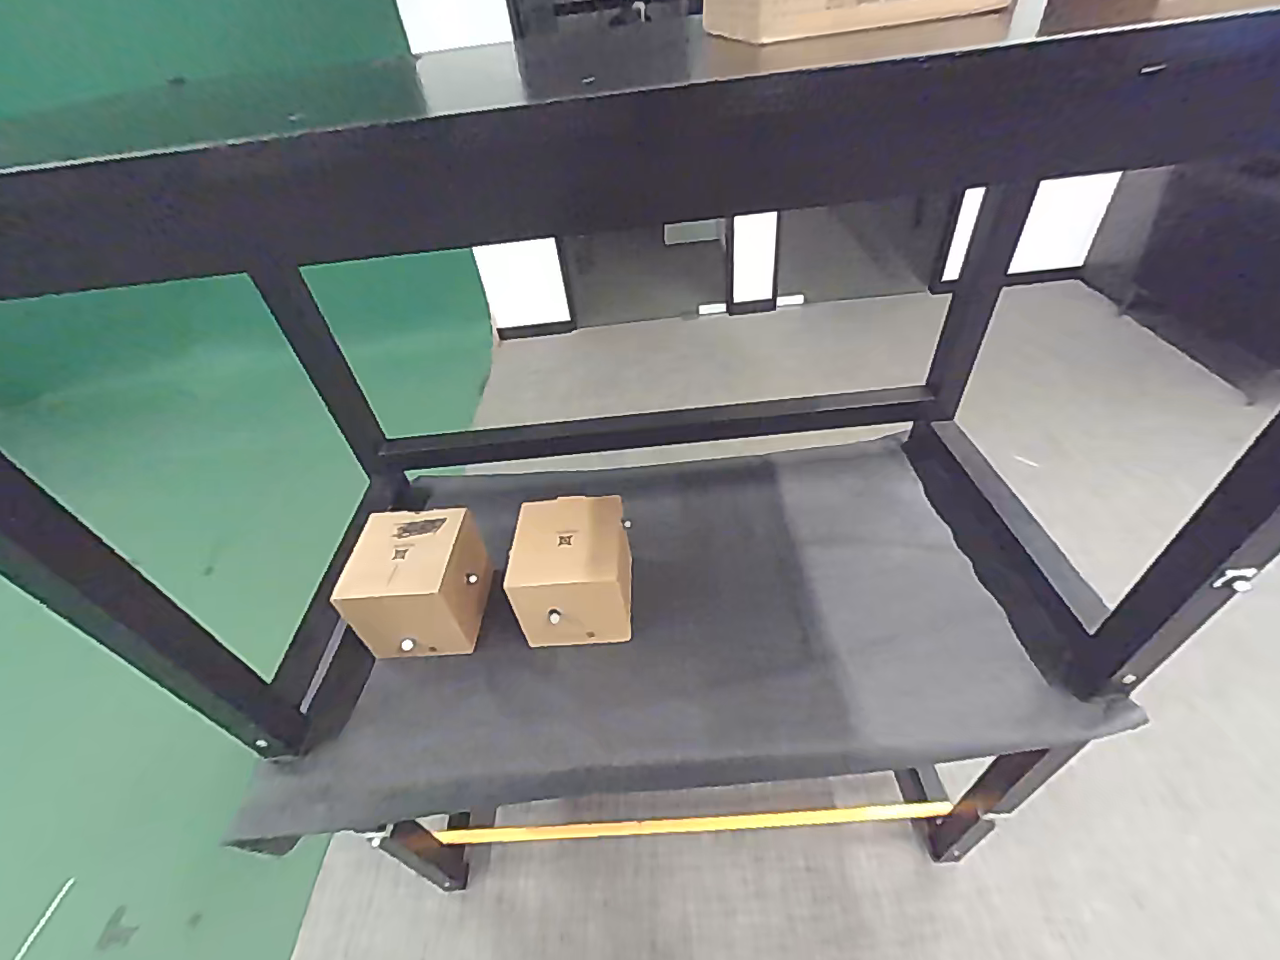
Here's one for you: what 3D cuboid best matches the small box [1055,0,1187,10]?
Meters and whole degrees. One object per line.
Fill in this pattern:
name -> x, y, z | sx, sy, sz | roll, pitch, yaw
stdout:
small box -> 0.384, -0.390, 0.310 | 0.168, 0.176, 0.179 | 3, 43, 11

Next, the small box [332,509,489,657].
small box -> -0.361, 0.170, 0.894 | 0.168, 0.176, 0.179 | -4, 43, 4

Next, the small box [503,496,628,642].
small box -> -0.109, 0.151, 0.883 | 0.168, 0.176, 0.179 | -4, 42, 3
